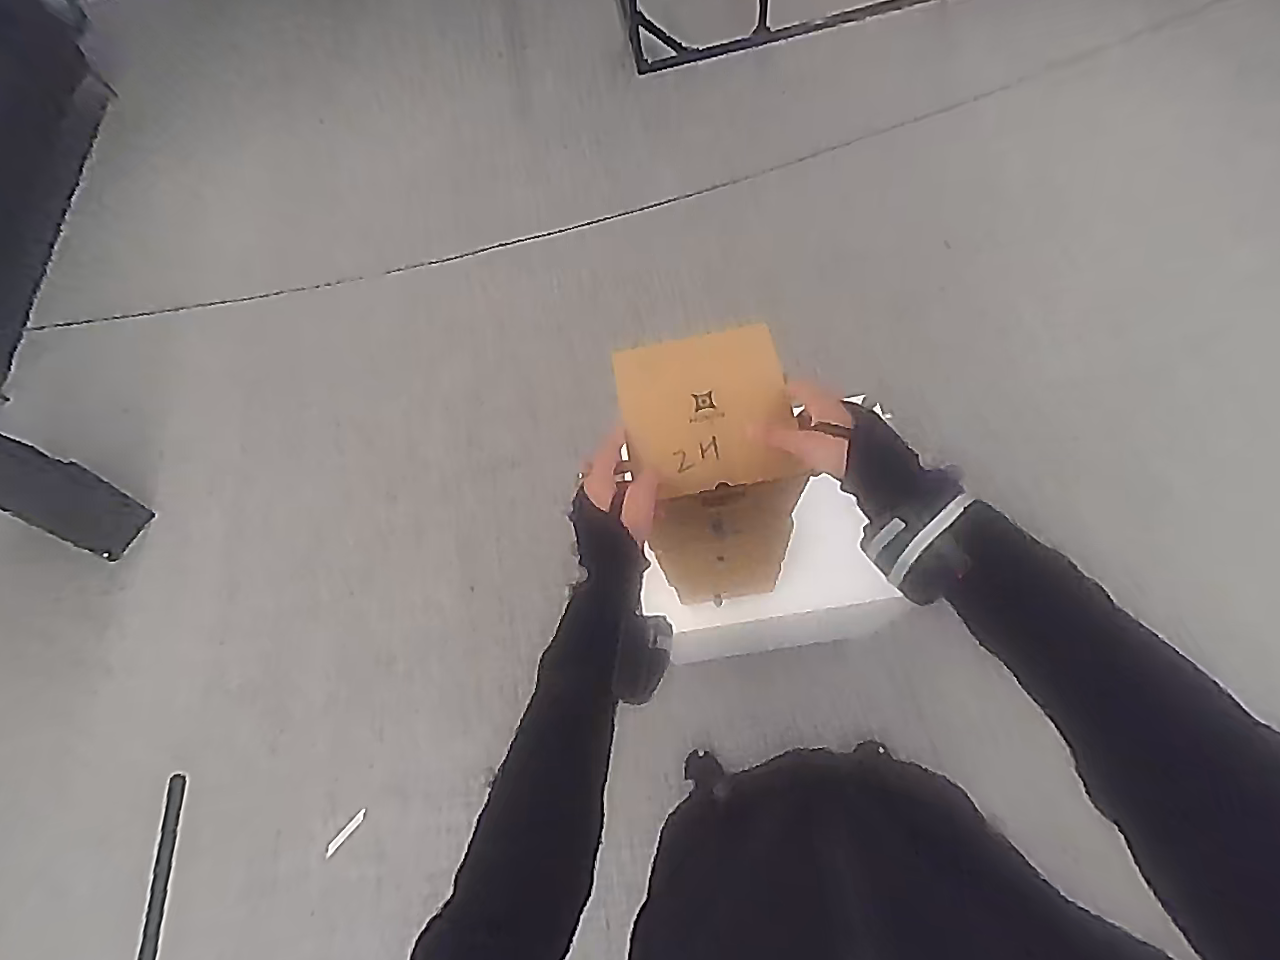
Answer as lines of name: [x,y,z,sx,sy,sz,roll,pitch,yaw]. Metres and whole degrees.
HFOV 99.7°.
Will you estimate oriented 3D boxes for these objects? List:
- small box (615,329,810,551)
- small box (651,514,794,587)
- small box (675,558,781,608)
small box: [0.072,-0.035,0.602,0.168,0.176,0.179,-11,68,3]
small box: [0.101,0.038,0.760,0.179,0.176,0.168,-14,64,5]
small box: [0.131,0.103,0.908,0.168,0.176,0.179,-10,65,5]
